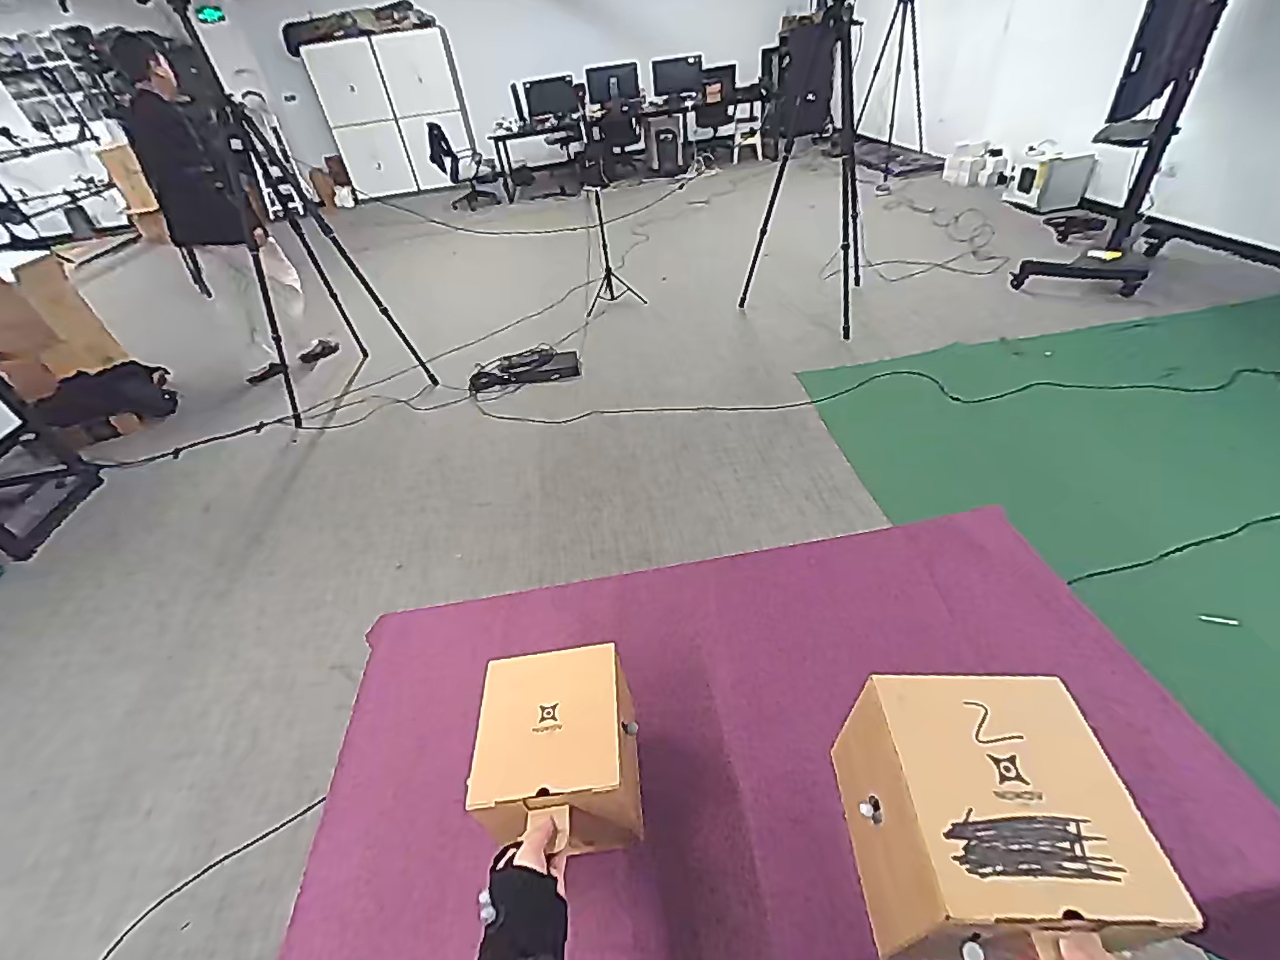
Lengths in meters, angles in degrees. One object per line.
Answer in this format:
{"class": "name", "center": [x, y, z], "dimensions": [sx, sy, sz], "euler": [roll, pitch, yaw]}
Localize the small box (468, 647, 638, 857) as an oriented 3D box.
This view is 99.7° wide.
{"class": "small box", "center": [-0.098, 0.342, 0.684], "dimensions": [0.168, 0.176, 0.179], "euler": [-9, 39, 2]}
